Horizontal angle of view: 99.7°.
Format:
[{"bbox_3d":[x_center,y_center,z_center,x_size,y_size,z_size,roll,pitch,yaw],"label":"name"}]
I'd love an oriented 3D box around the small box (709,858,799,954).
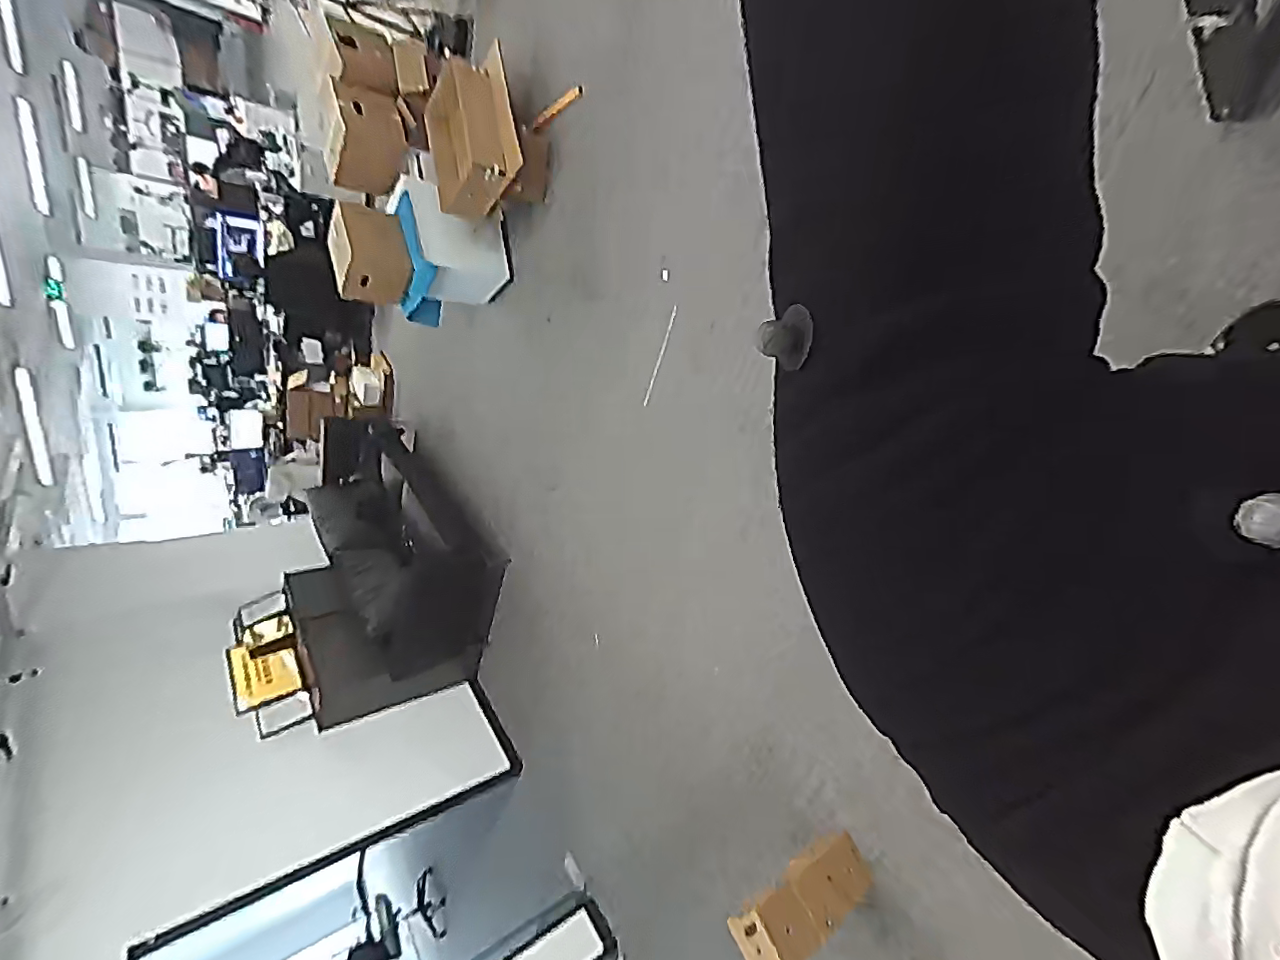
[{"bbox_3d":[0.359,1.329,1.701,0.179,0.176,0.168,55,132,26],"label":"small box"}]
